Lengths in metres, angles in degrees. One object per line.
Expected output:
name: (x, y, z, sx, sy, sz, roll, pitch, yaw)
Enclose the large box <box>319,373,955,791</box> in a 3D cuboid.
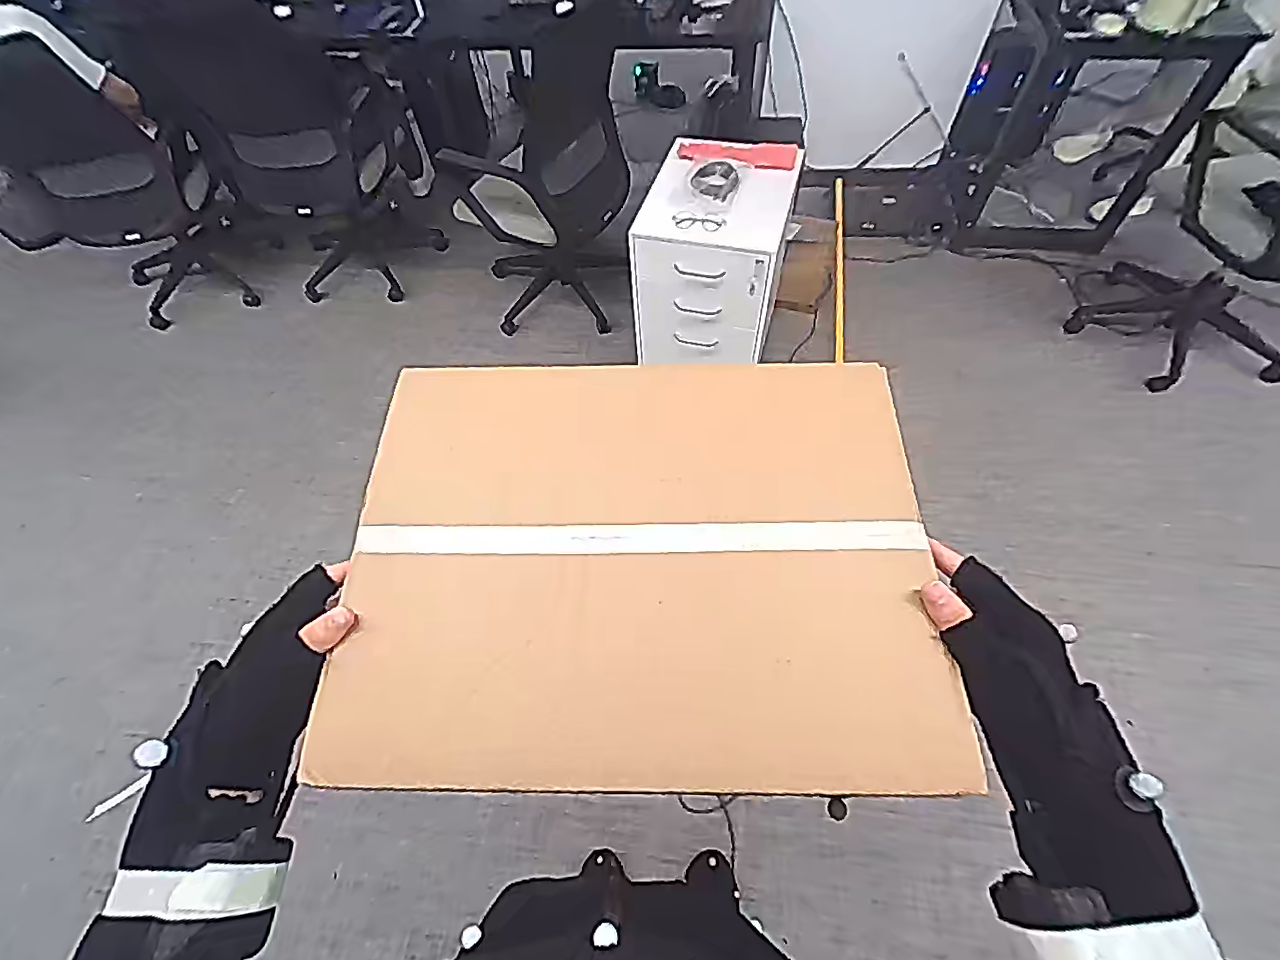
large box: (0.001, 0.113, 0.531, 0.408, 0.320, 0.320, 0, 63, 1)
